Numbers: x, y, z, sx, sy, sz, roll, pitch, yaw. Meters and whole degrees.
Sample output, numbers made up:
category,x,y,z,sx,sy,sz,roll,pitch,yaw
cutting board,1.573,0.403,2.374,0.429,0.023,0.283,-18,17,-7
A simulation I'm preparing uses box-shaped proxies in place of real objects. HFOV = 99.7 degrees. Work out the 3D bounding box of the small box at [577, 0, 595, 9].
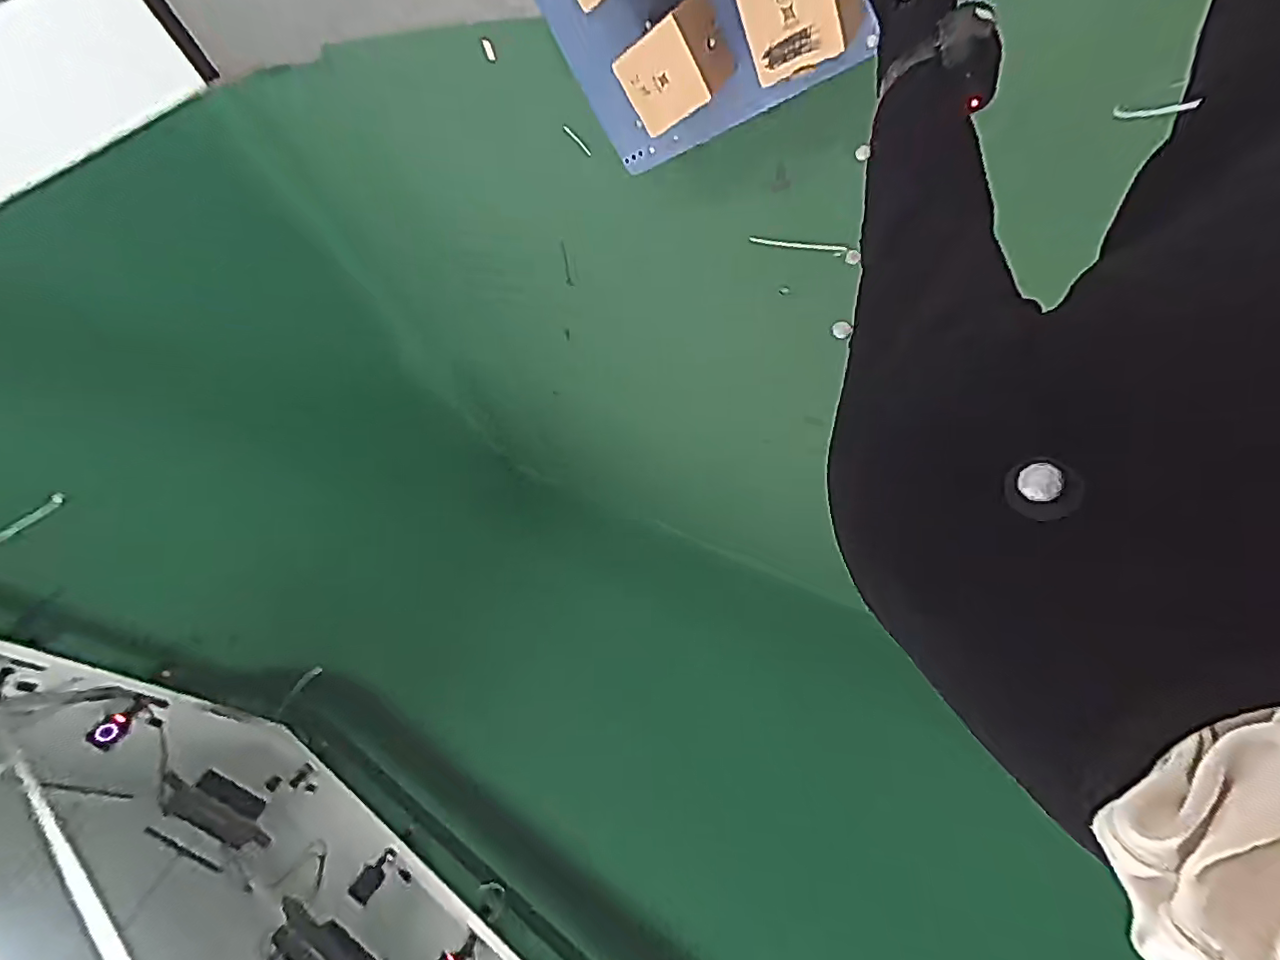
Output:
category,x,y,z,sx,sy,sz,roll,pitch,yaw
small box,-0.063,-1.074,1.040,0.179,0.176,0.168,-3,138,42

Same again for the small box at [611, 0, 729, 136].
category,x,y,z,sx,sy,sz,roll,pitch,yaw
small box,0.075,-0.908,1.181,0.179,0.176,0.168,-5,136,44
